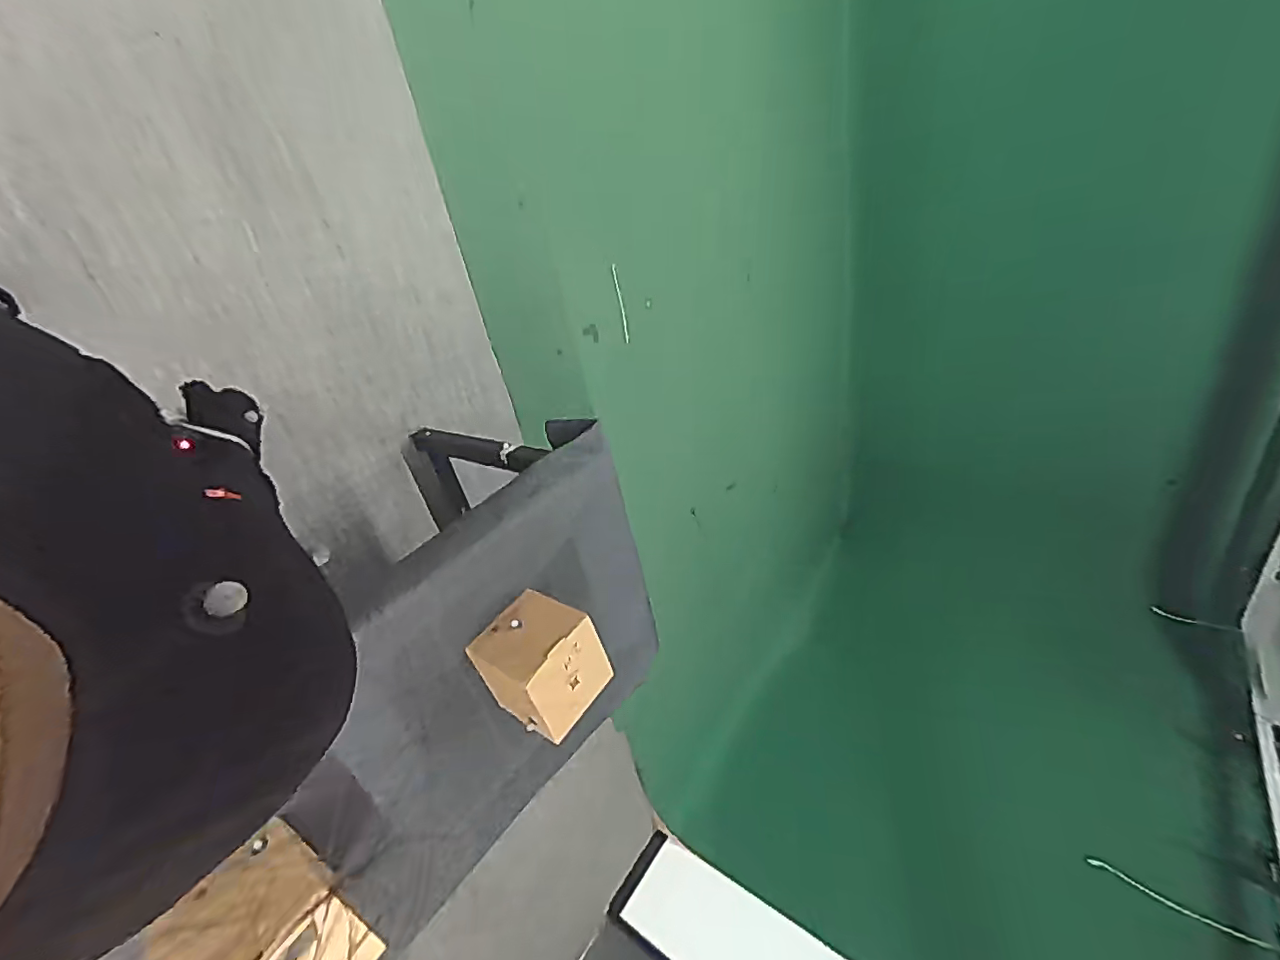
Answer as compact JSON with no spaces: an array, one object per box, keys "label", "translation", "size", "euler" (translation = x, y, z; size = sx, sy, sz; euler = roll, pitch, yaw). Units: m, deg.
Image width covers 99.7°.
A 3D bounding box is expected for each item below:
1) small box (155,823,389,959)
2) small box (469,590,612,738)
[{"label":"small box","translation":[-0.475,0.593,0.705],"size":[0.168,0.176,0.179],"euler":[-41,130,-39]},{"label":"small box","translation":[-0.184,0.334,1.013],"size":[0.168,0.176,0.179],"euler":[-45,132,-37]}]
